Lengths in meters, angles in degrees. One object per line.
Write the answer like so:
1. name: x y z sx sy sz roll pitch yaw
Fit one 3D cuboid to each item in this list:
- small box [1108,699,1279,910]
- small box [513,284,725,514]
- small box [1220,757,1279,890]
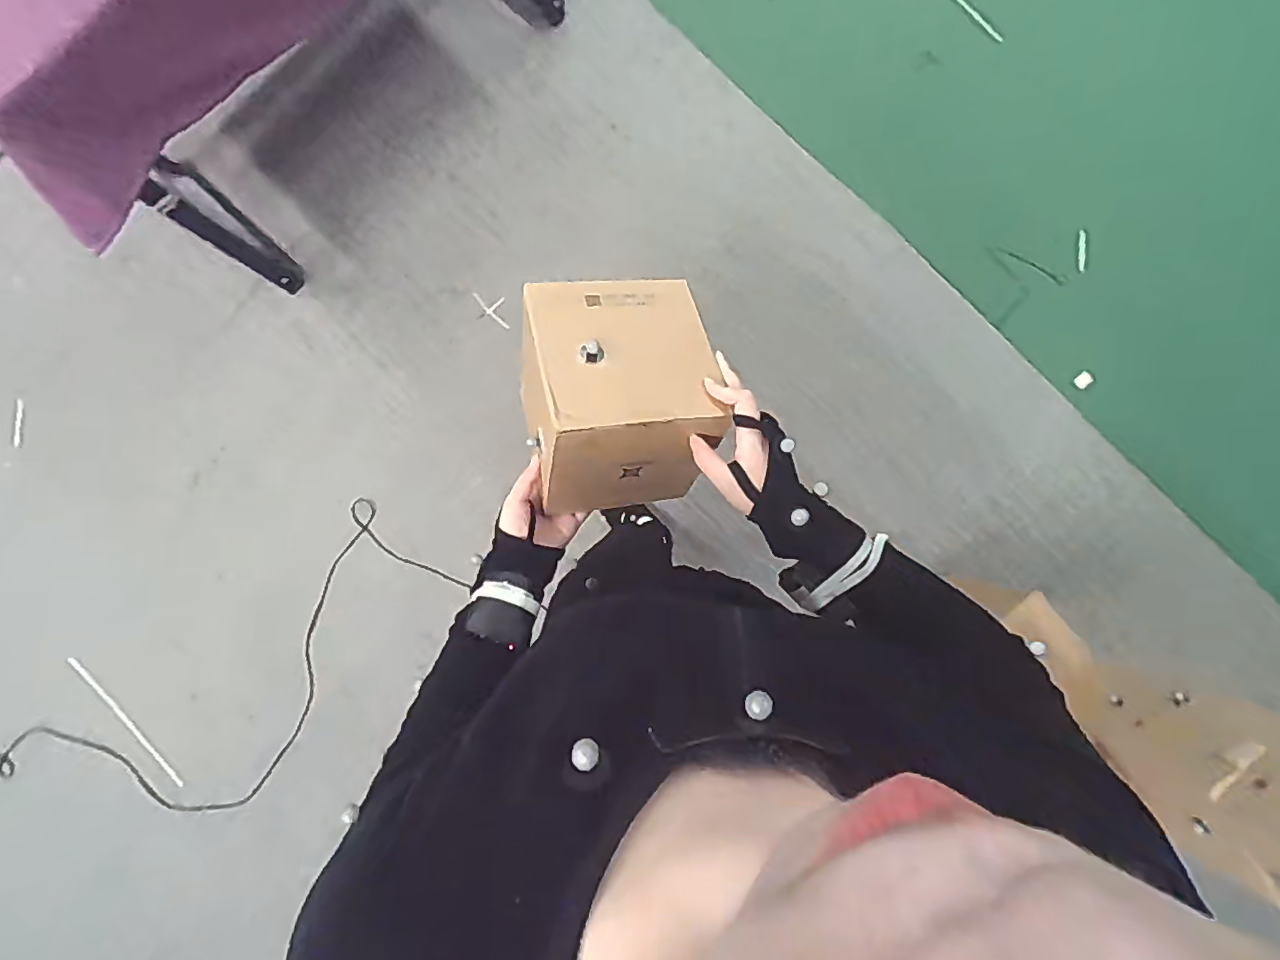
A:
1. small box: 0.827 0.434 0.756 0.168 0.176 0.179 -31 87 -1
2. small box: -0.037 -0.086 0.565 0.168 0.179 0.176 -7 64 -17
3. small box: 0.830 0.425 0.591 0.168 0.176 0.179 -38 87 -2
